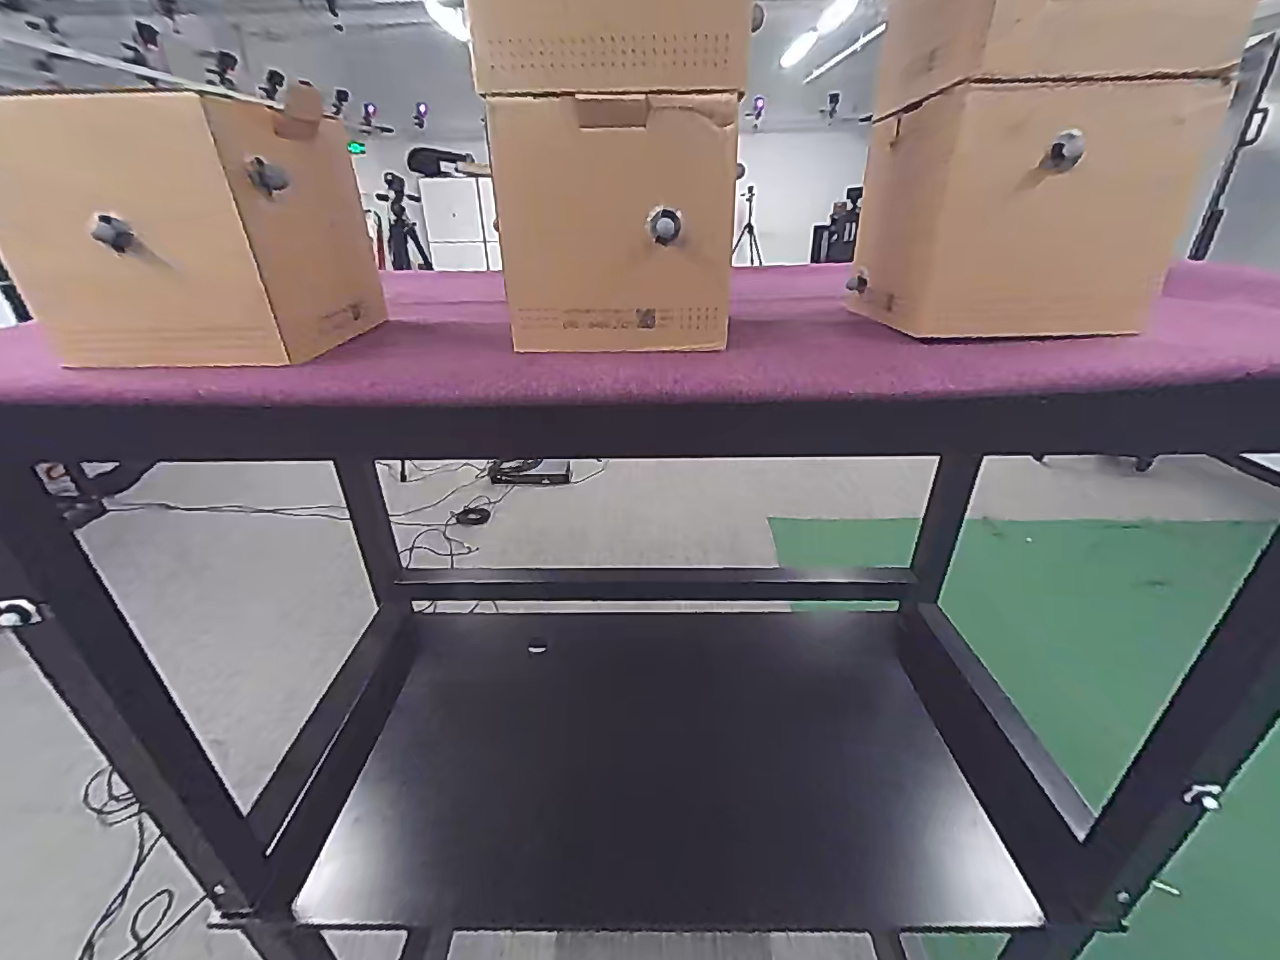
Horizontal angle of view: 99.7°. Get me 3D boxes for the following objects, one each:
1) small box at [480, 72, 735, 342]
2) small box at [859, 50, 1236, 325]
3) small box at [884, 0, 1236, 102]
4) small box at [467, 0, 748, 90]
[{"bbox_3d":[-0.016,-0.214,0.446,0.168,0.176,0.179,1,27,2],"label":"small box"},{"bbox_3d":[0.297,-0.225,0.448,0.179,0.176,0.168,-1,25,0],"label":"small box"},{"bbox_3d":[0.292,-0.374,0.382,0.179,0.176,0.168,-1,25,1],"label":"small box"},{"bbox_3d":[-0.017,-0.361,0.370,0.179,0.176,0.168,1,29,2],"label":"small box"}]
